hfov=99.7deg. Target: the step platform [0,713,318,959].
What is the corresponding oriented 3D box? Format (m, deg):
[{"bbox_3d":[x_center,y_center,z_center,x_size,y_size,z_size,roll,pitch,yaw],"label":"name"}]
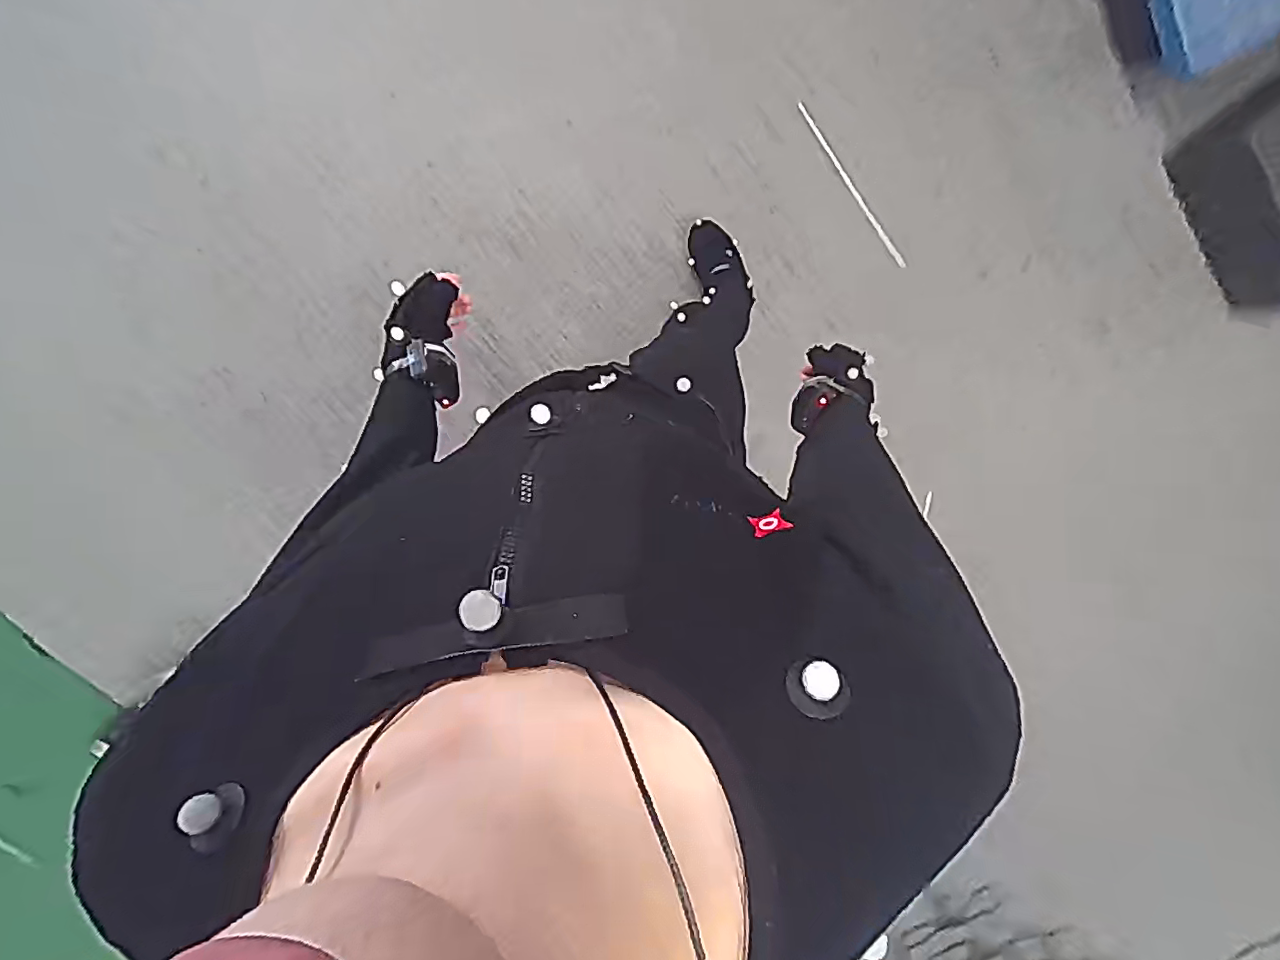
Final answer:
[{"bbox_3d":[-1.168,0.911,1.346,0.286,0.204,0.684,-38,104,5],"label":"step platform"}]
